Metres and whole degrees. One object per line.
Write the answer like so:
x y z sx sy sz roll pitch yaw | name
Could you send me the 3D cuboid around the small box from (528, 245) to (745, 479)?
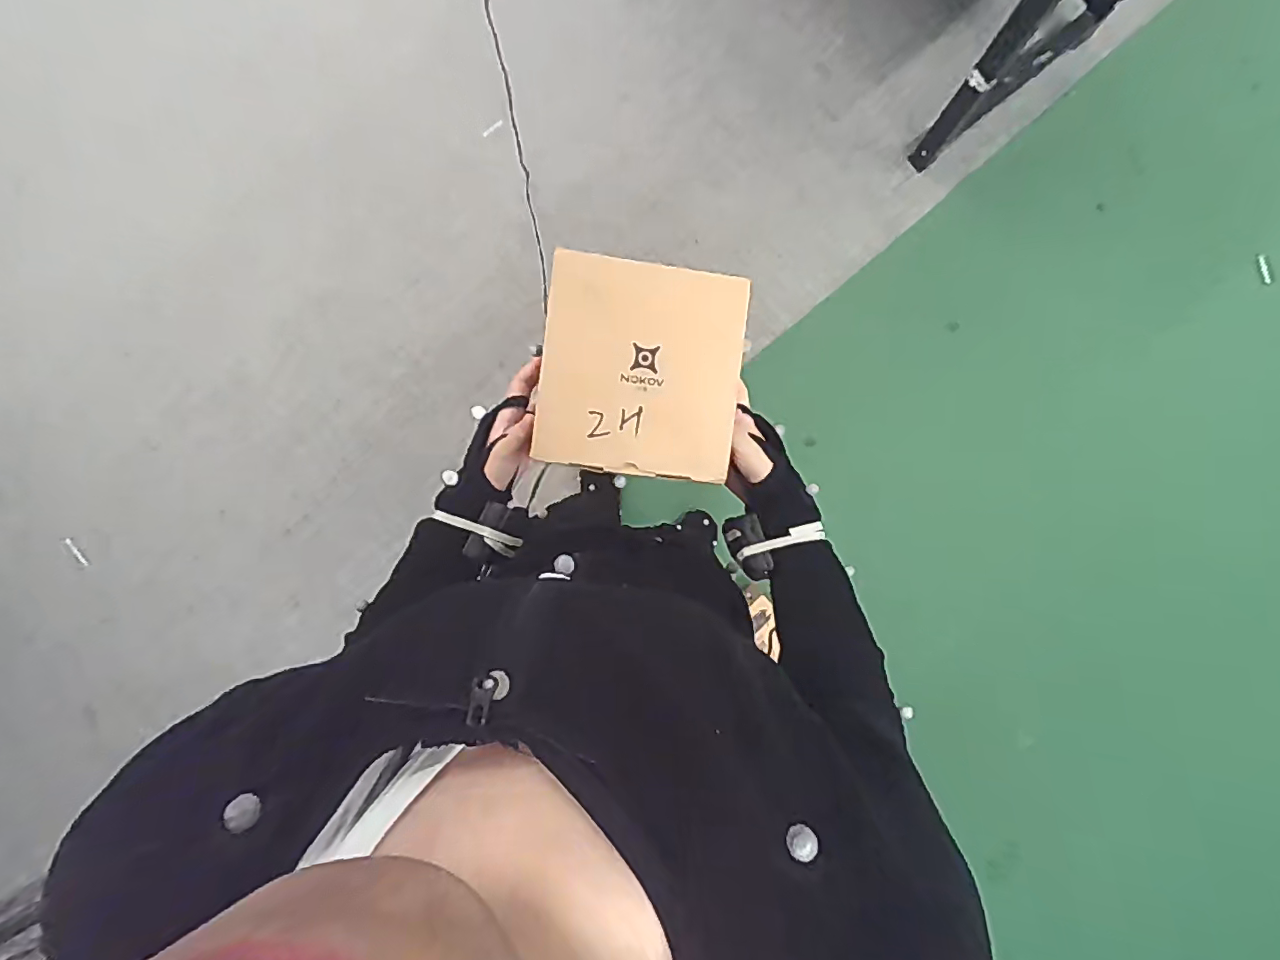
-0.010 -0.098 0.529 0.168 0.176 0.179 7 91 -6 | small box
